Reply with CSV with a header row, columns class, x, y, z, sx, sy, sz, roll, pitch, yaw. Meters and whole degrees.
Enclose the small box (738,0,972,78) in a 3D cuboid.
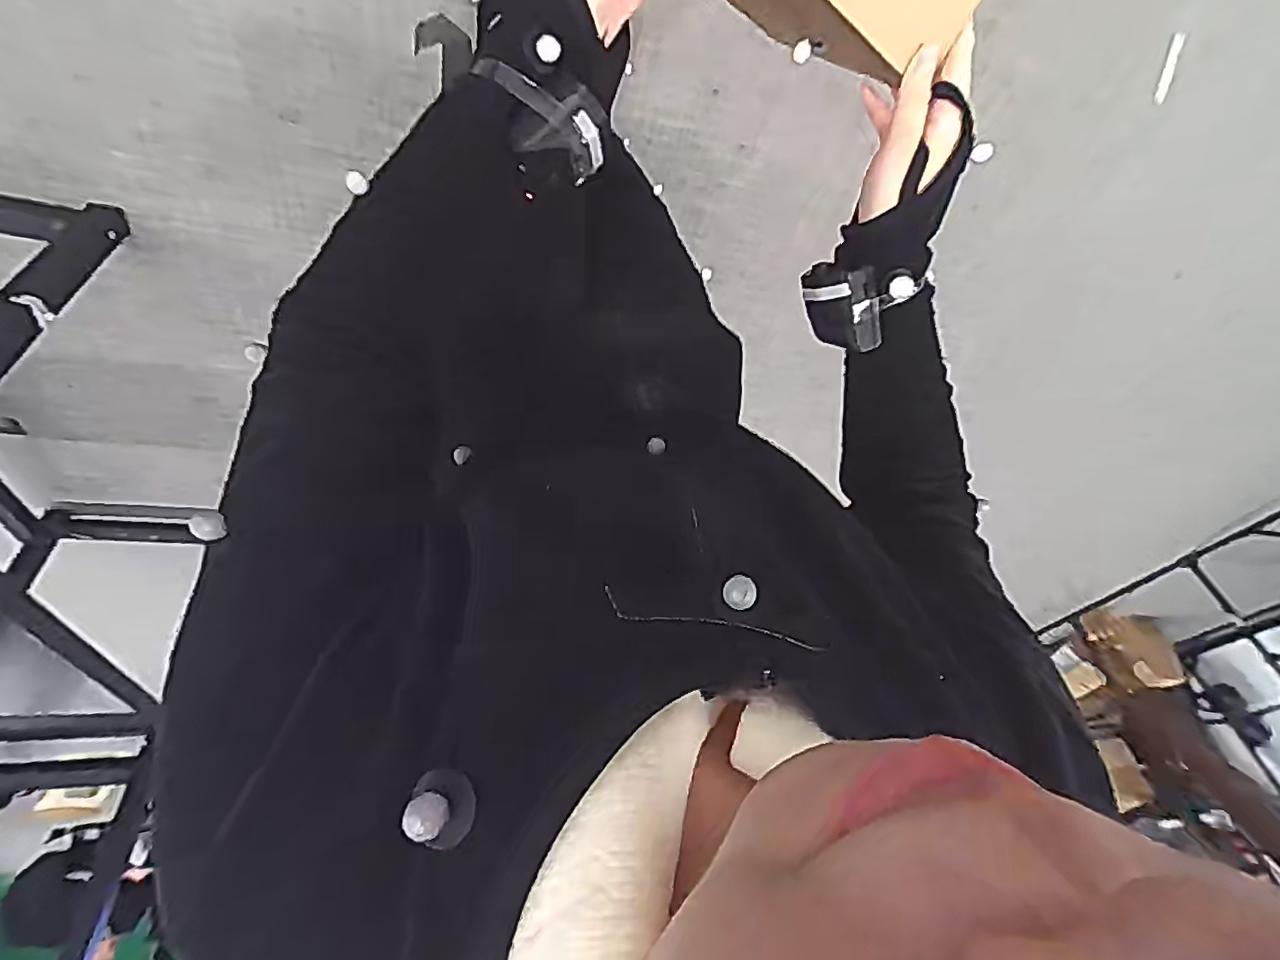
class,x,y,z,sx,sy,sz,roll,pitch,yaw
small box,0.113,-0.371,0.296,0.179,0.176,0.168,3,131,-39
